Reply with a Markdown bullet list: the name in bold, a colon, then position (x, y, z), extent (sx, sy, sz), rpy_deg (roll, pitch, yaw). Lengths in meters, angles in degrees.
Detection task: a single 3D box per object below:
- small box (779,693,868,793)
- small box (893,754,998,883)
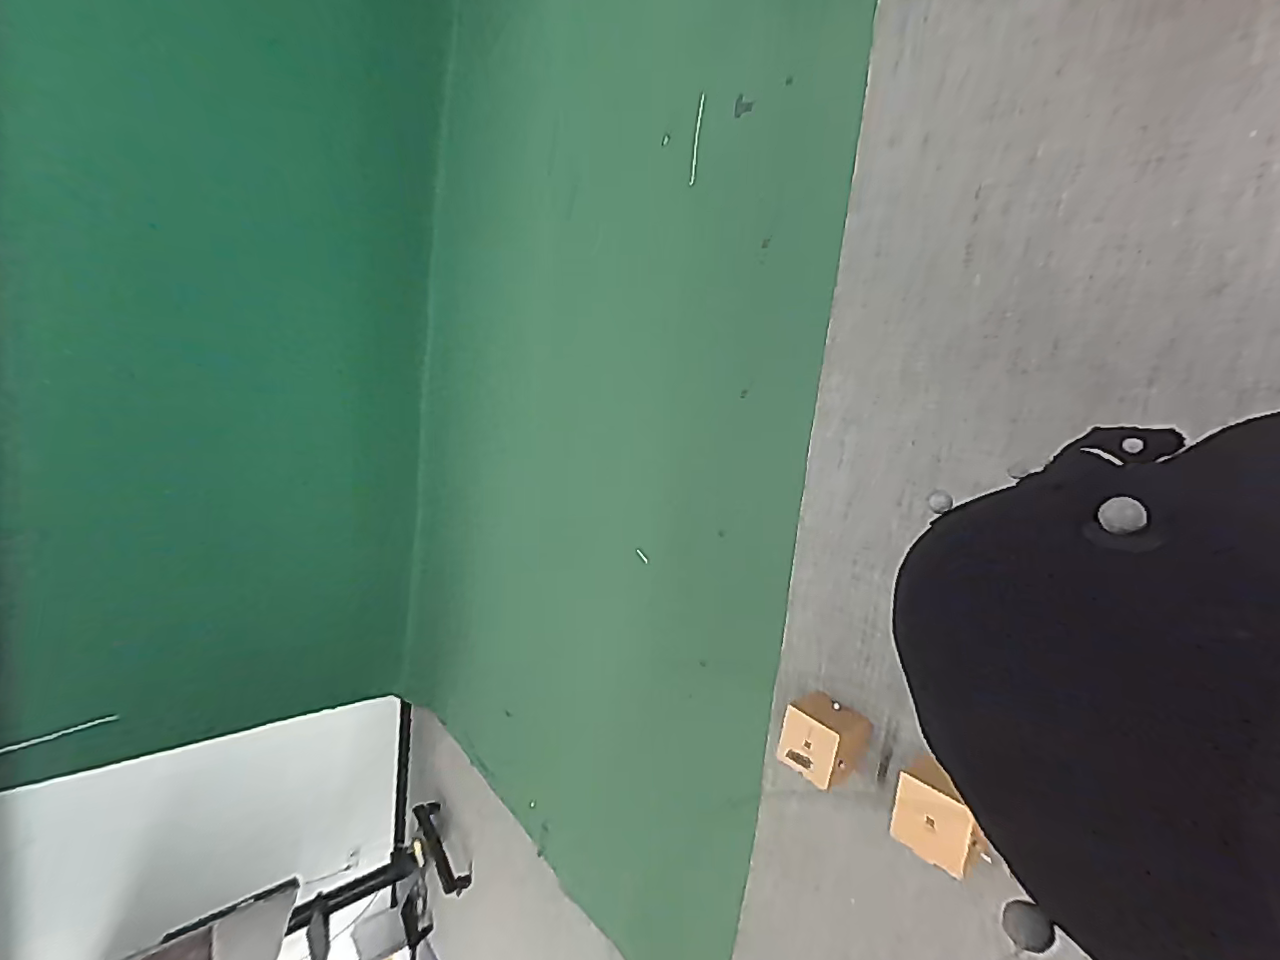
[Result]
- **small box**: position (0.526, 0.740, 1.542), extent (0.168, 0.176, 0.179), rpy_deg (19, 102, 46)
- **small box**: position (0.740, 0.800, 1.305), extent (0.168, 0.176, 0.179), rpy_deg (13, 100, 47)
